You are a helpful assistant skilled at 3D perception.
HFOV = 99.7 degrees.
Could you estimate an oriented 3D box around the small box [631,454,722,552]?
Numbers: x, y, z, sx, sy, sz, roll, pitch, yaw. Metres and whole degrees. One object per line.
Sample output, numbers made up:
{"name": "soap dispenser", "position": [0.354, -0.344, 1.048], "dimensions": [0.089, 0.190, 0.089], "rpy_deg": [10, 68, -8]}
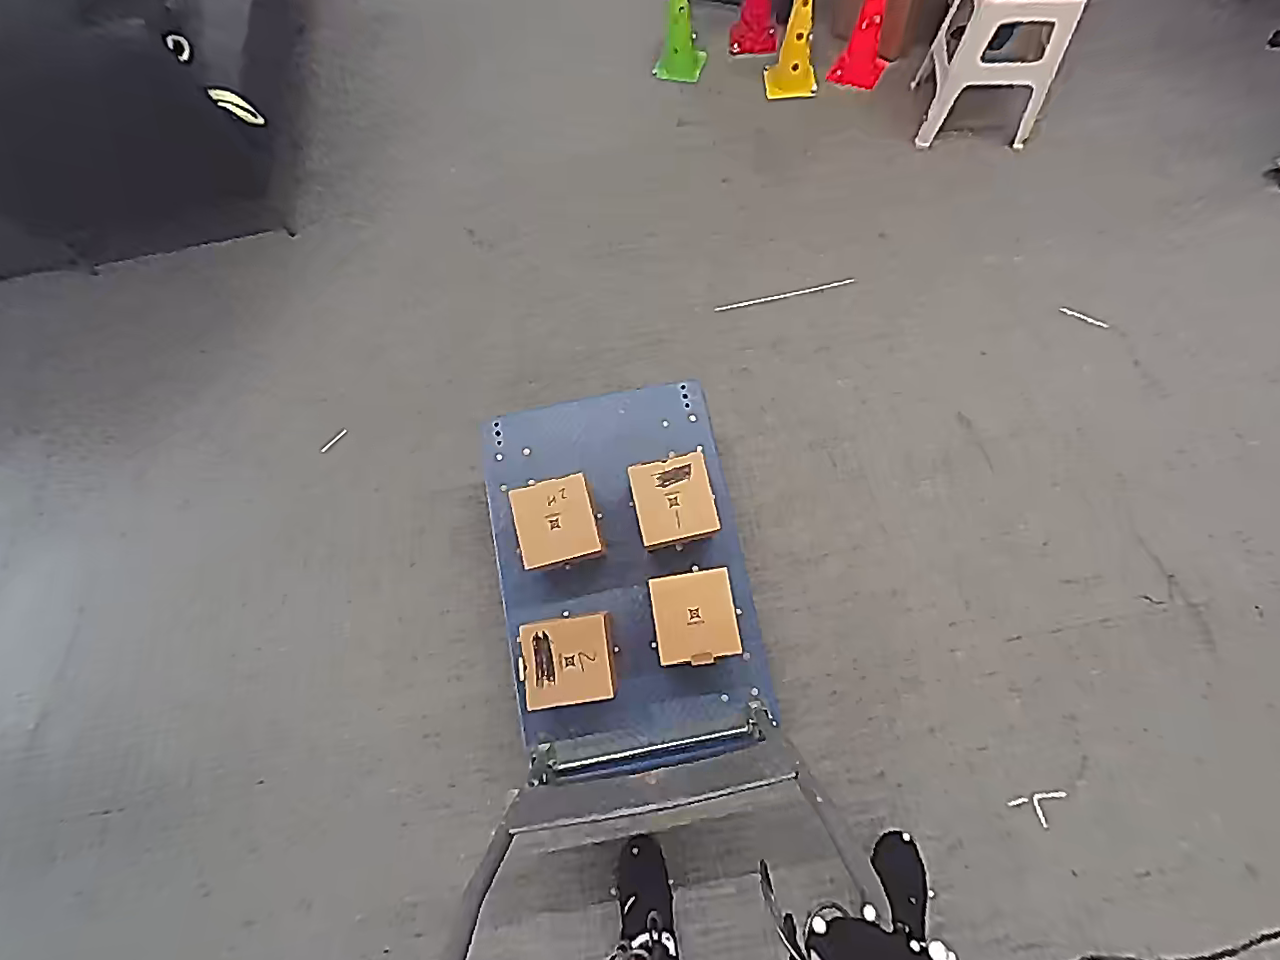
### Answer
{"name": "small box", "position": [0.078, 0.058, 1.216], "dimensions": [0.168, 0.176, 0.179], "rpy_deg": [-12, 79, 1]}

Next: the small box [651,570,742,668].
{"name": "small box", "position": [0.115, 0.295, 1.169], "dimensions": [0.168, 0.176, 0.179], "rpy_deg": [-9, 79, 1]}

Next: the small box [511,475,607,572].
{"name": "small box", "position": [-0.174, 0.104, 1.218], "dimensions": [0.168, 0.176, 0.179], "rpy_deg": [-14, 79, -1]}
